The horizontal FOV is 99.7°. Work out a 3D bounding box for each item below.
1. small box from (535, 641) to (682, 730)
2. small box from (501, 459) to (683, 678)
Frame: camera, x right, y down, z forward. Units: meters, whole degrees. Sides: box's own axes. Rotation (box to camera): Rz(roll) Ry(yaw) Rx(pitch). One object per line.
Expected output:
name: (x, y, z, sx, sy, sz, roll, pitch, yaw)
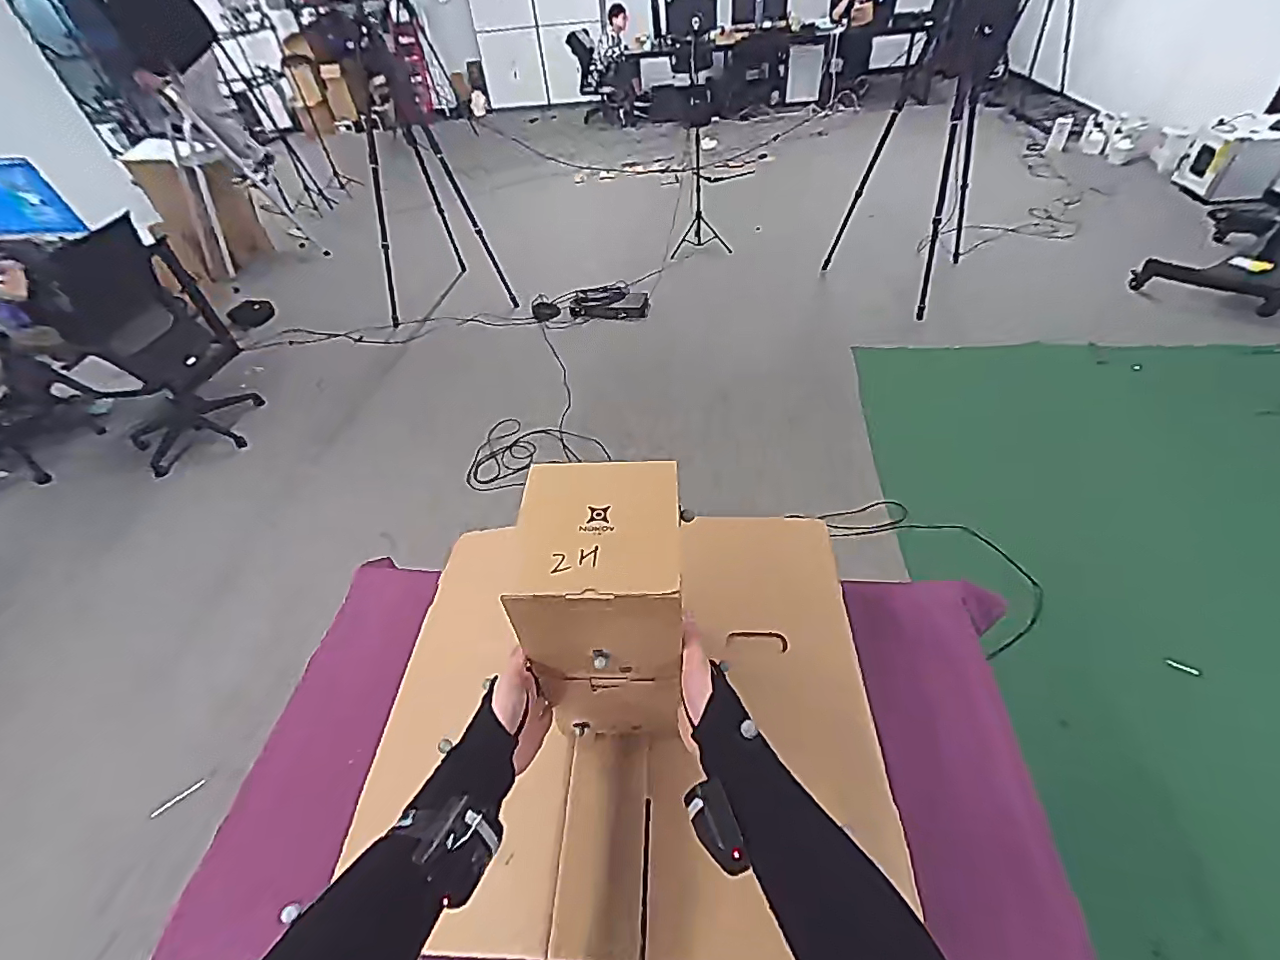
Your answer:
small box: (-0.028, 0.212, 0.709, 0.168, 0.176, 0.179, 0, 45, 3)
small box: (-0.037, 0.096, 0.594, 0.168, 0.176, 0.179, -1, 47, 4)
